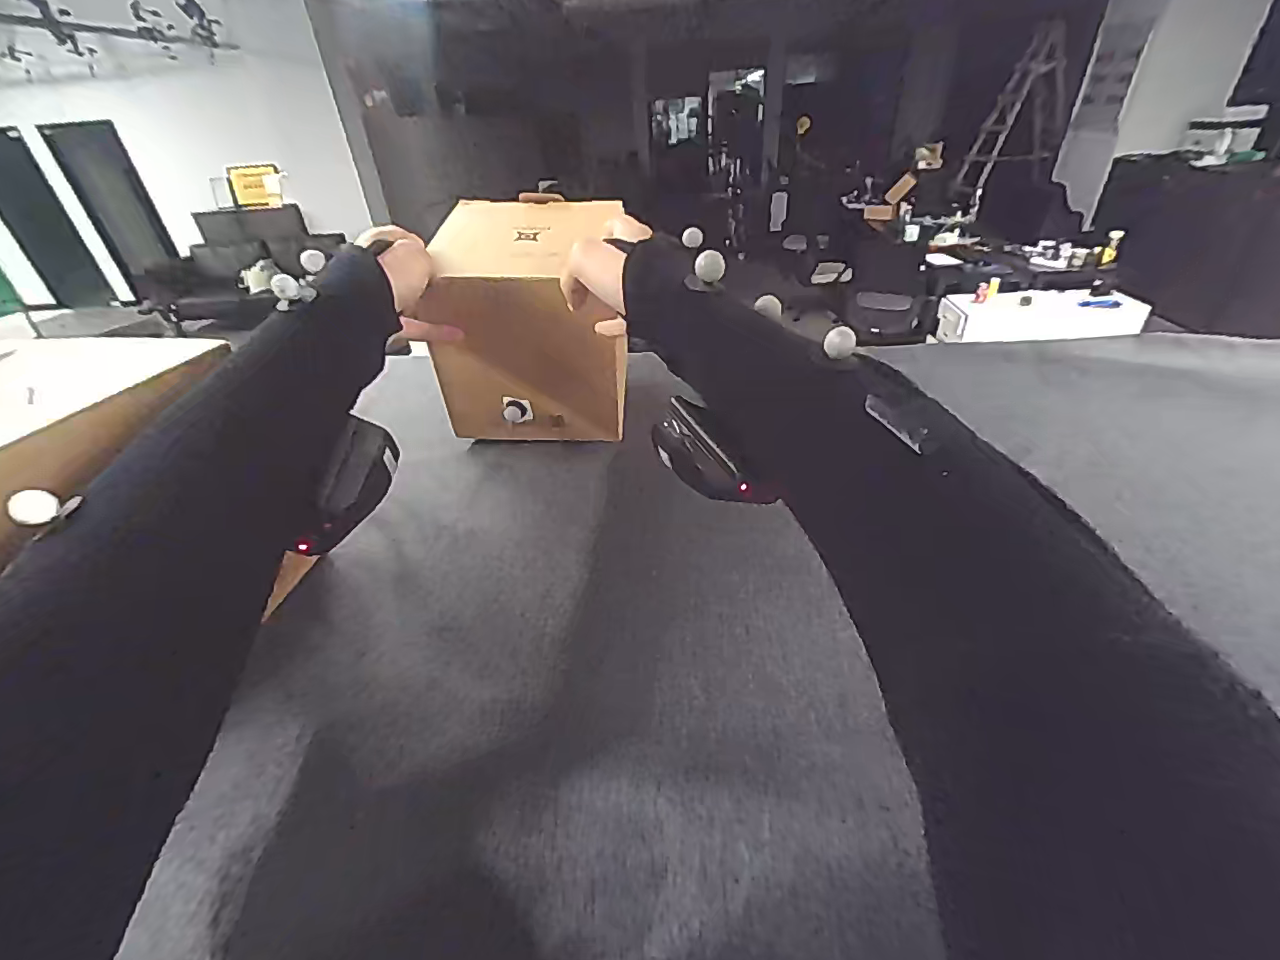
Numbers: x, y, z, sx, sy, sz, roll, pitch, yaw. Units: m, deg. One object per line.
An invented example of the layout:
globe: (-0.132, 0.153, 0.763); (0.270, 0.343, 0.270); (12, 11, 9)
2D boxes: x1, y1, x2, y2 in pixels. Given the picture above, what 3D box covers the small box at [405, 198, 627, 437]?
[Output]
small box: (-0.099, -0.161, 0.529); (0.168, 0.176, 0.179); (0, 42, 1)
